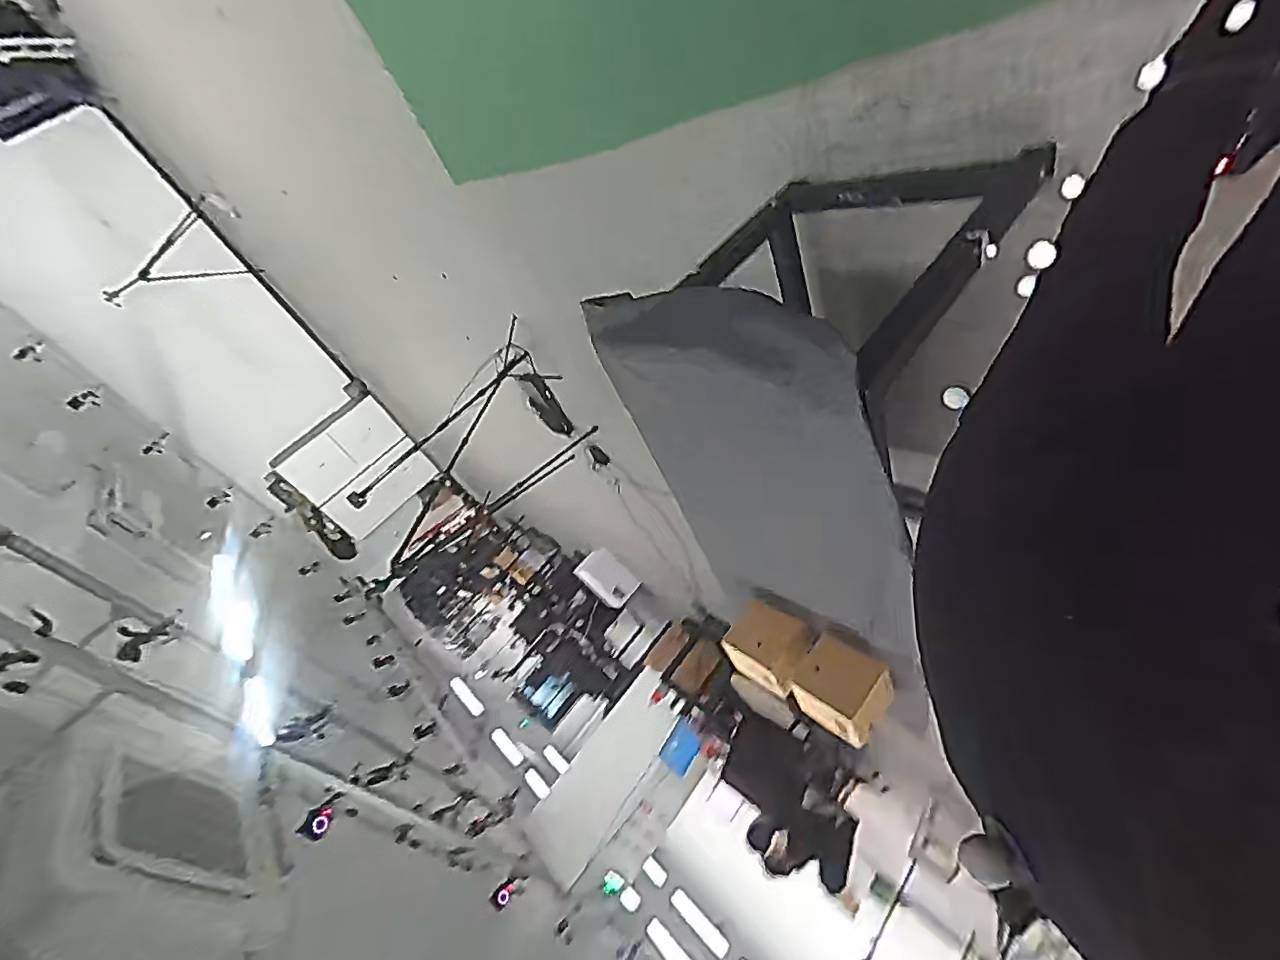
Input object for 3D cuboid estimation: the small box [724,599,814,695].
[{"bbox_3d":[0.379,0.473,1.554,0.179,0.176,0.168,21,150,46],"label":"small box"}]
